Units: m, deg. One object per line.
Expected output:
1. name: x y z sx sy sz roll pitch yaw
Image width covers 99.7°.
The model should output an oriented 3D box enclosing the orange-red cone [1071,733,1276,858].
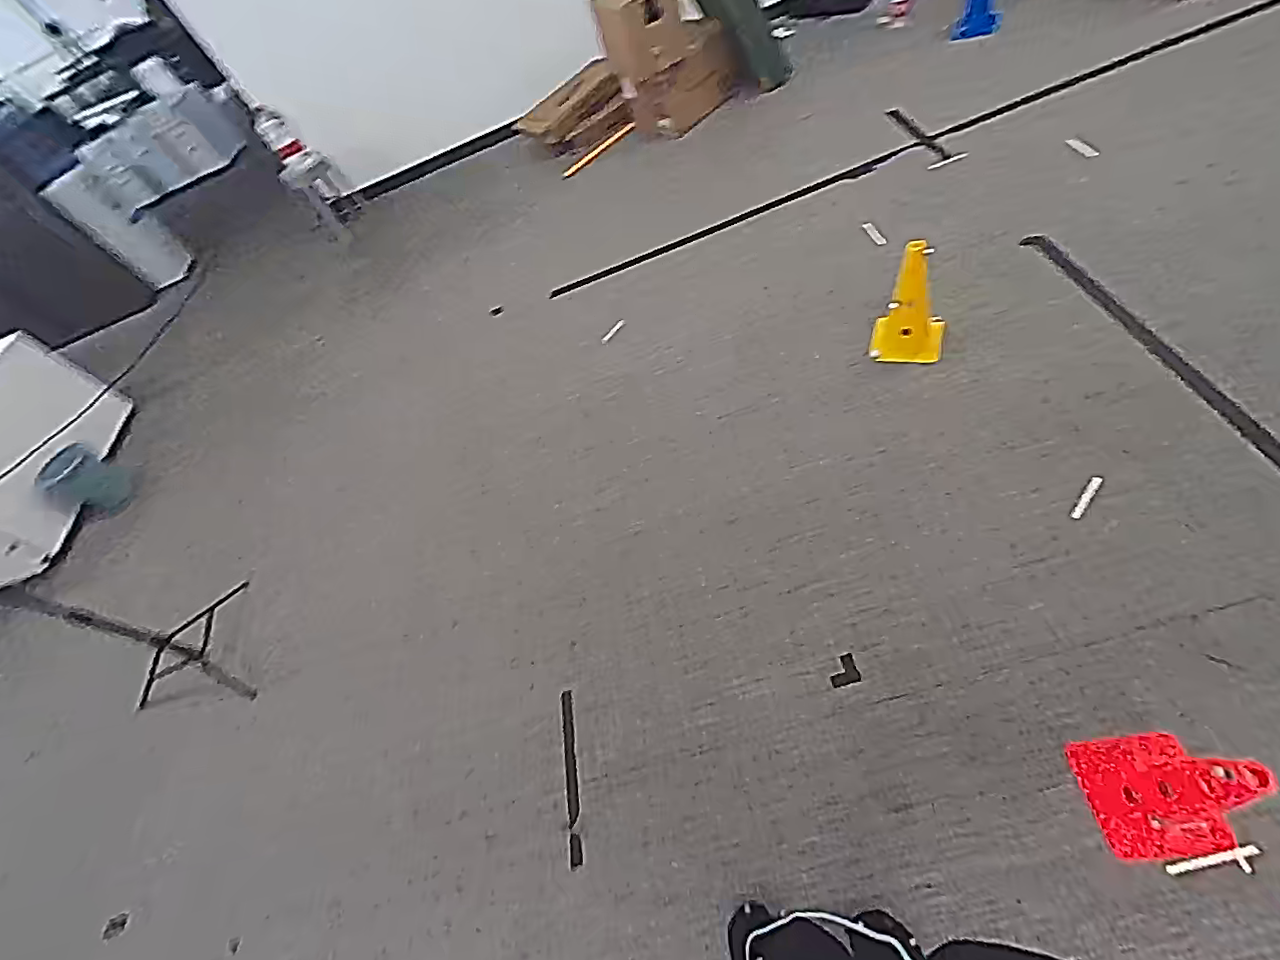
1. orange-red cone: 0.911 0.500 0.890 0.198 0.360 0.199 -13 53 12
